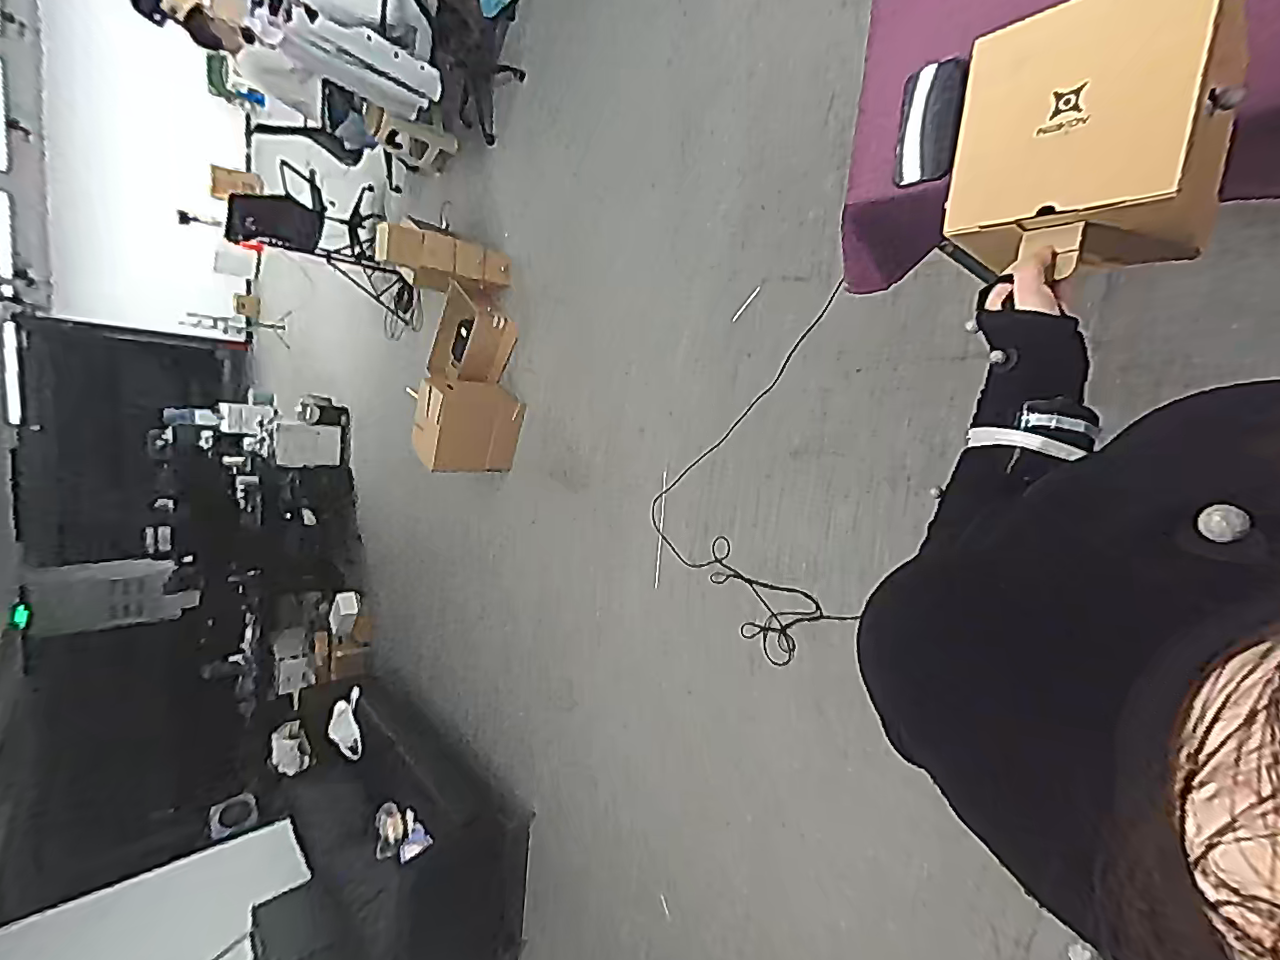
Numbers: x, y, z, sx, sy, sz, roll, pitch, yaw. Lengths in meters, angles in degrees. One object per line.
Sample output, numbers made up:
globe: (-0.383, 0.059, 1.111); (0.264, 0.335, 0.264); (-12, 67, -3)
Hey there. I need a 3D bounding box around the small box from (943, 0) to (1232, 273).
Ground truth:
small box: (0.419, -0.313, 0.510); (0.168, 0.176, 0.179); (15, 102, 49)
